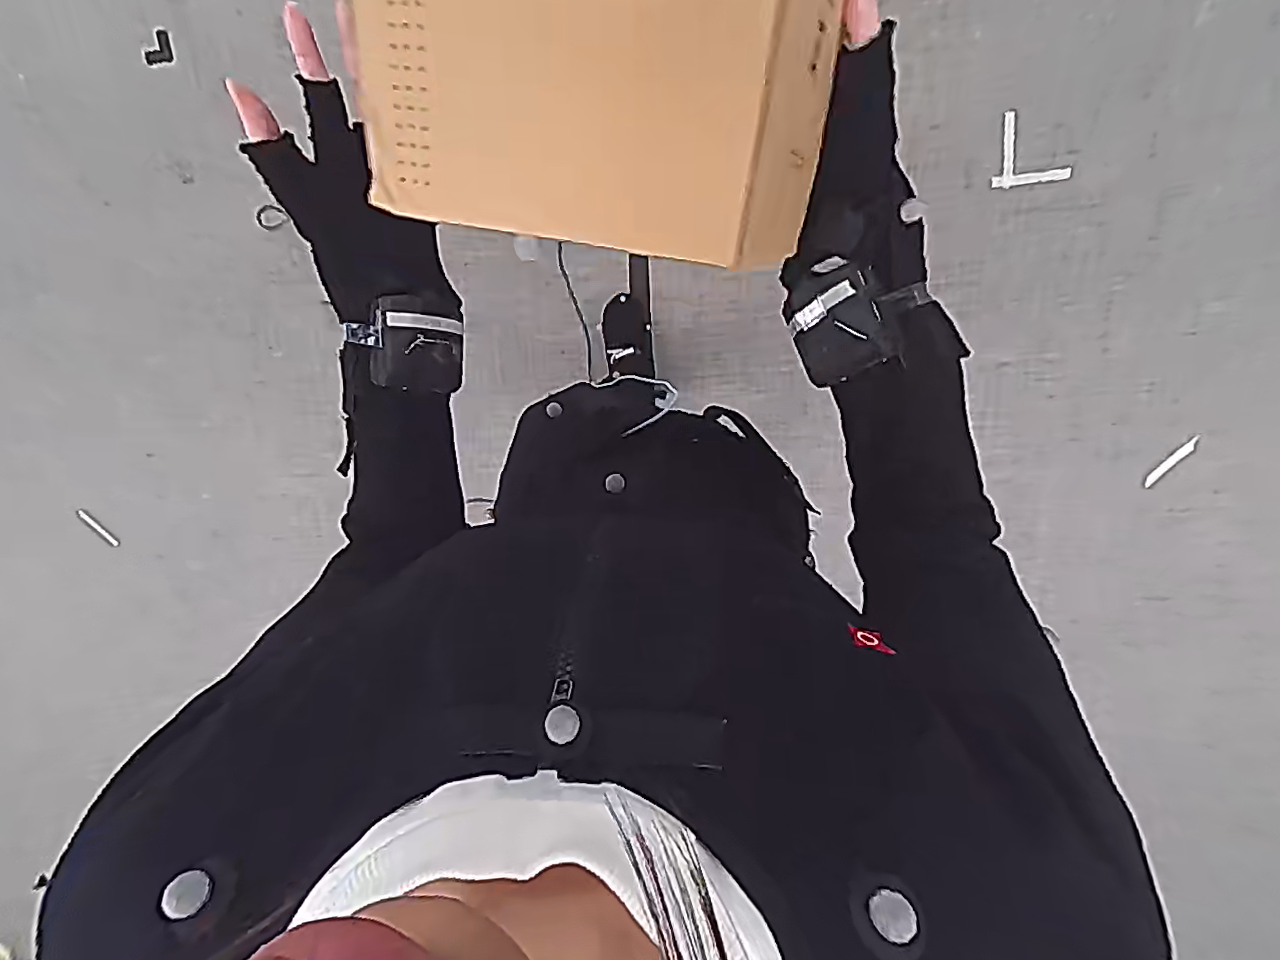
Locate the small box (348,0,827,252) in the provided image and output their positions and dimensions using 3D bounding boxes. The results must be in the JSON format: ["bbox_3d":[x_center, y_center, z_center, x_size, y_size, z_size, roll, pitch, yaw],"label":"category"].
[{"bbox_3d":[-0.013,-0.211,0.253,0.176,0.168,0.179,16,118,17],"label":"small box"}]
